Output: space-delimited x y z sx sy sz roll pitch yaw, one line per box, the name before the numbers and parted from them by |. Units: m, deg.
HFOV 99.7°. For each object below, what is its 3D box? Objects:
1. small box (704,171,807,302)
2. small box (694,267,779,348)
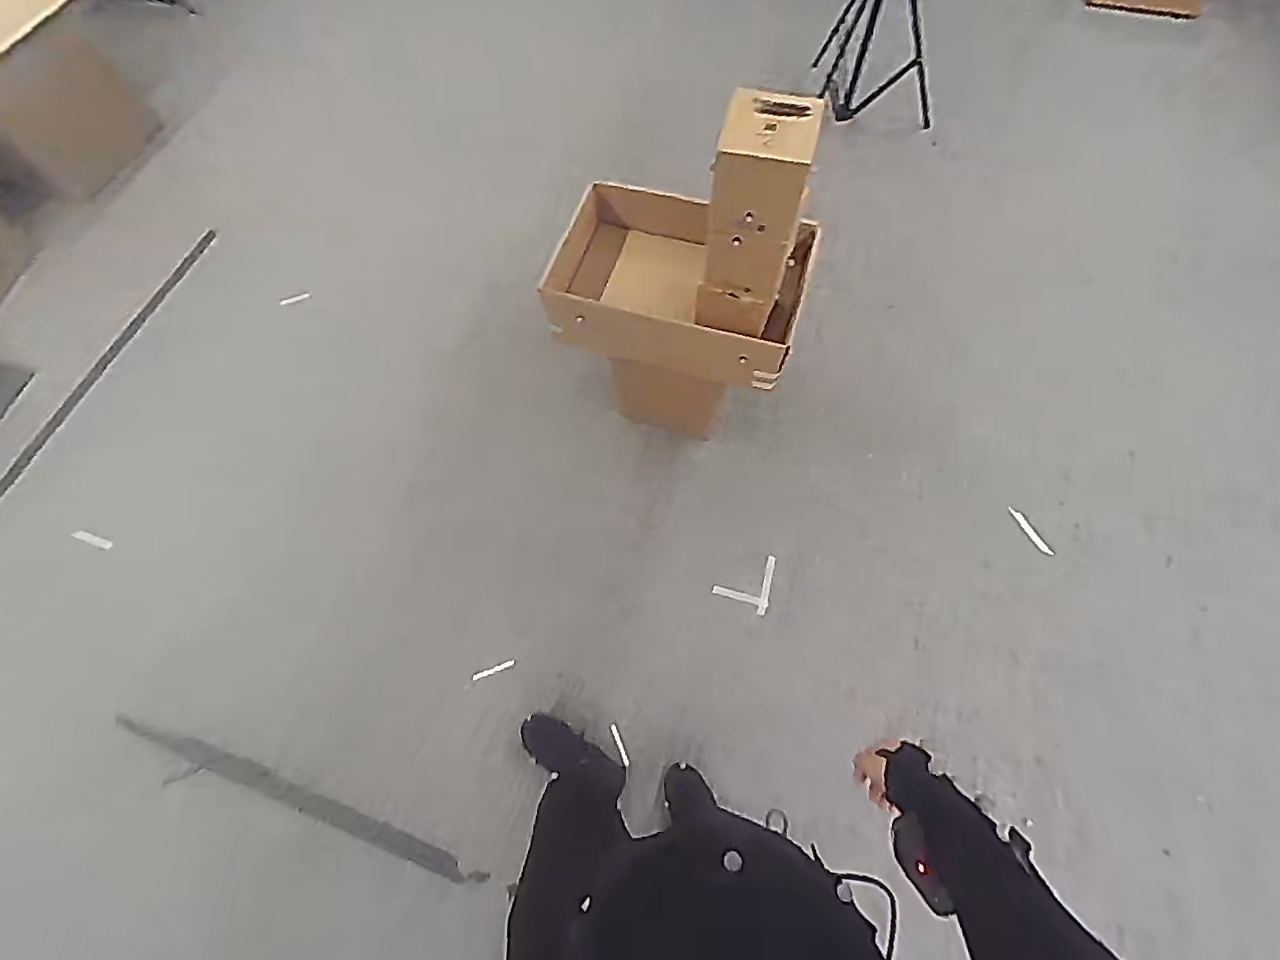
small box | 0.243 -0.523 1.172 0.168 0.176 0.179 19 68 10
small box | 0.238 -0.454 1.321 0.168 0.176 0.179 23 69 10
